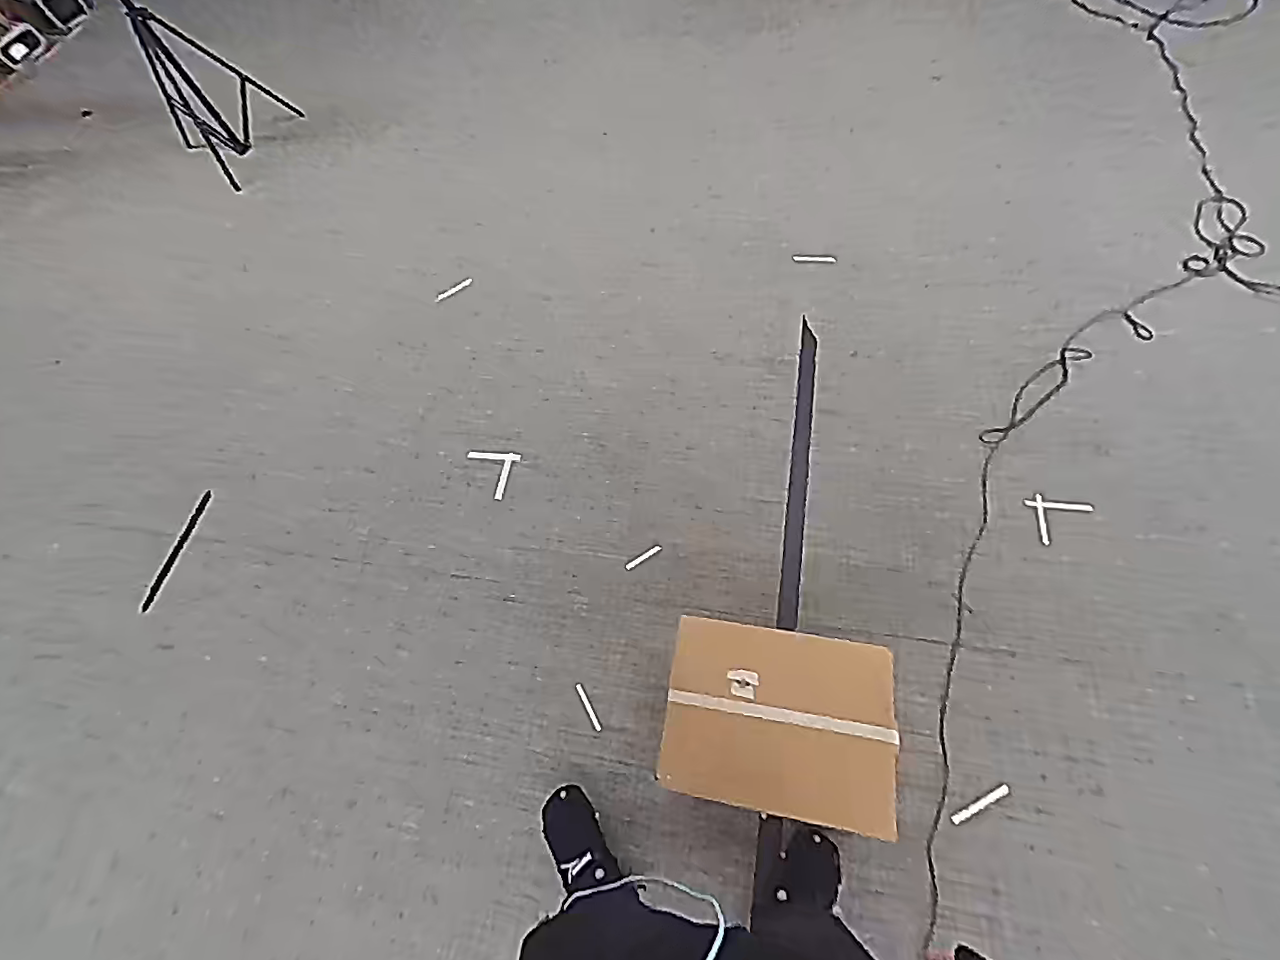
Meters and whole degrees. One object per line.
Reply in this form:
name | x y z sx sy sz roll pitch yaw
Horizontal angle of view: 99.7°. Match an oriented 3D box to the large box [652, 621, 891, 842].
large box | 0.265 0.504 1.108 0.408 0.320 0.320 6 62 13
